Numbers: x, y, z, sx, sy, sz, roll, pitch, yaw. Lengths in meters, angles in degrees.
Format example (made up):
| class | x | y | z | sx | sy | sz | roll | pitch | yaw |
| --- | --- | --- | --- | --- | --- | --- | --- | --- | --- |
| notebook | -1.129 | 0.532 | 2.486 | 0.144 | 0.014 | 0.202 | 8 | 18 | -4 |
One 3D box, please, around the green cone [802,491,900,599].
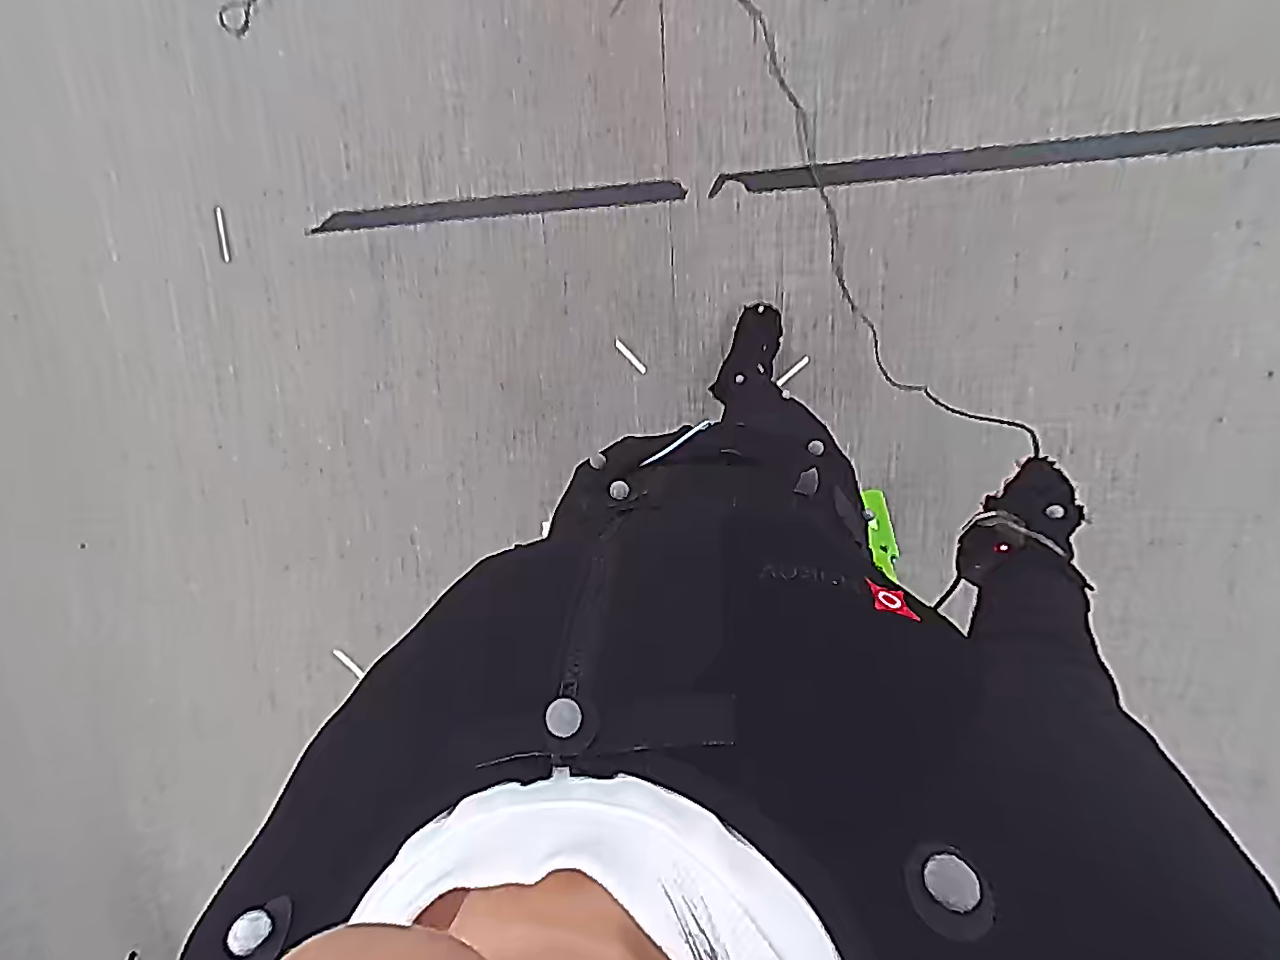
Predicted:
| class | x | y | z | sx | sy | sz | roll | pitch | yaw |
| --- | --- | --- | --- | --- | --- | --- | --- | --- | --- |
| green cone | 0.495 | 0.168 | 1.189 | 0.202 | 0.368 | 0.200 | -17 | 96 | 14 |
